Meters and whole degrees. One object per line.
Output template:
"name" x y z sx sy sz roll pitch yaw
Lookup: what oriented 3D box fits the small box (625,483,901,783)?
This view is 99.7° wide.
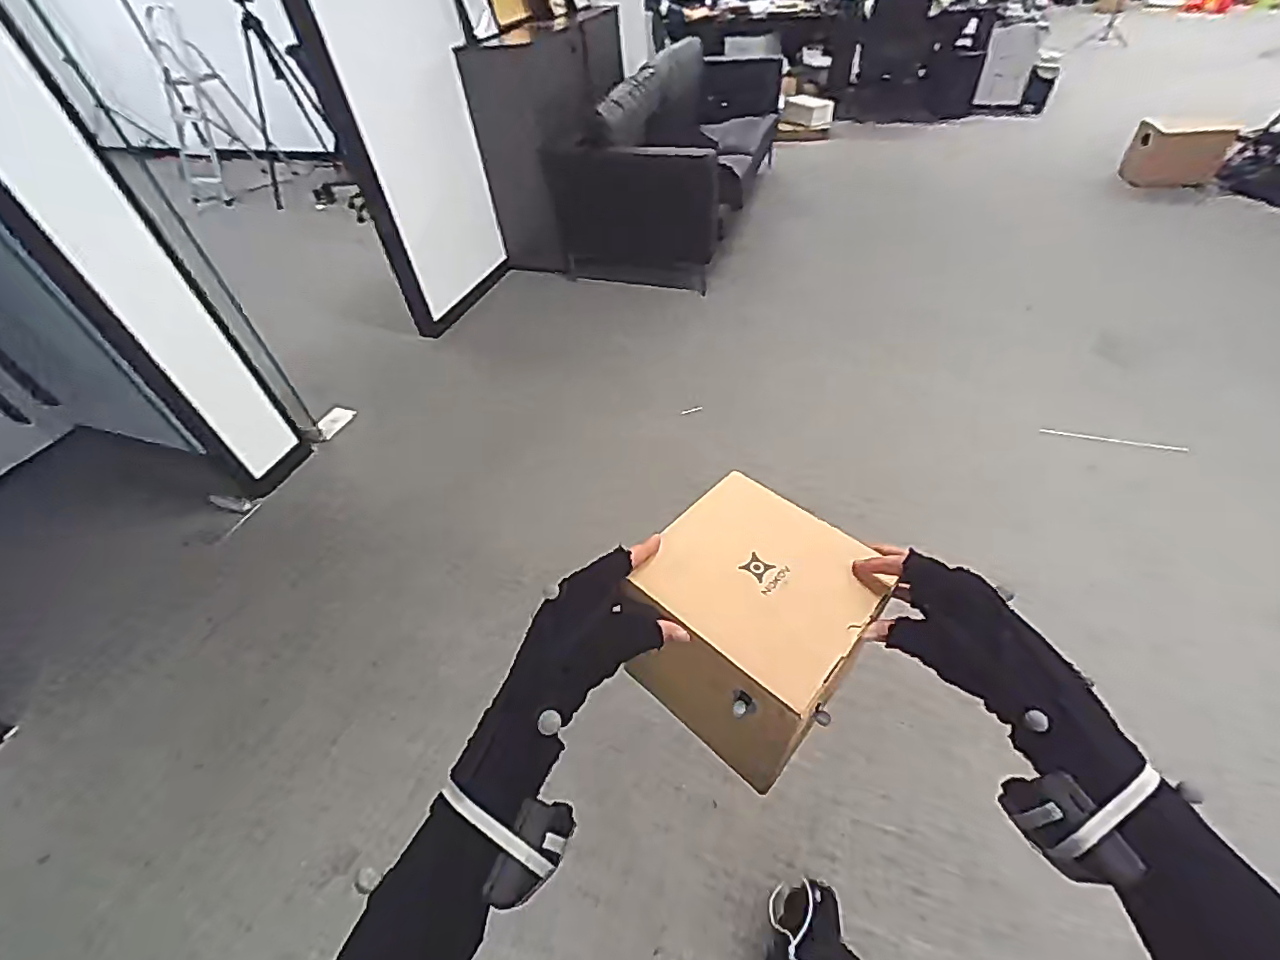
"small box" 0.100 0.141 0.508 0.179 0.176 0.168 34 53 29
